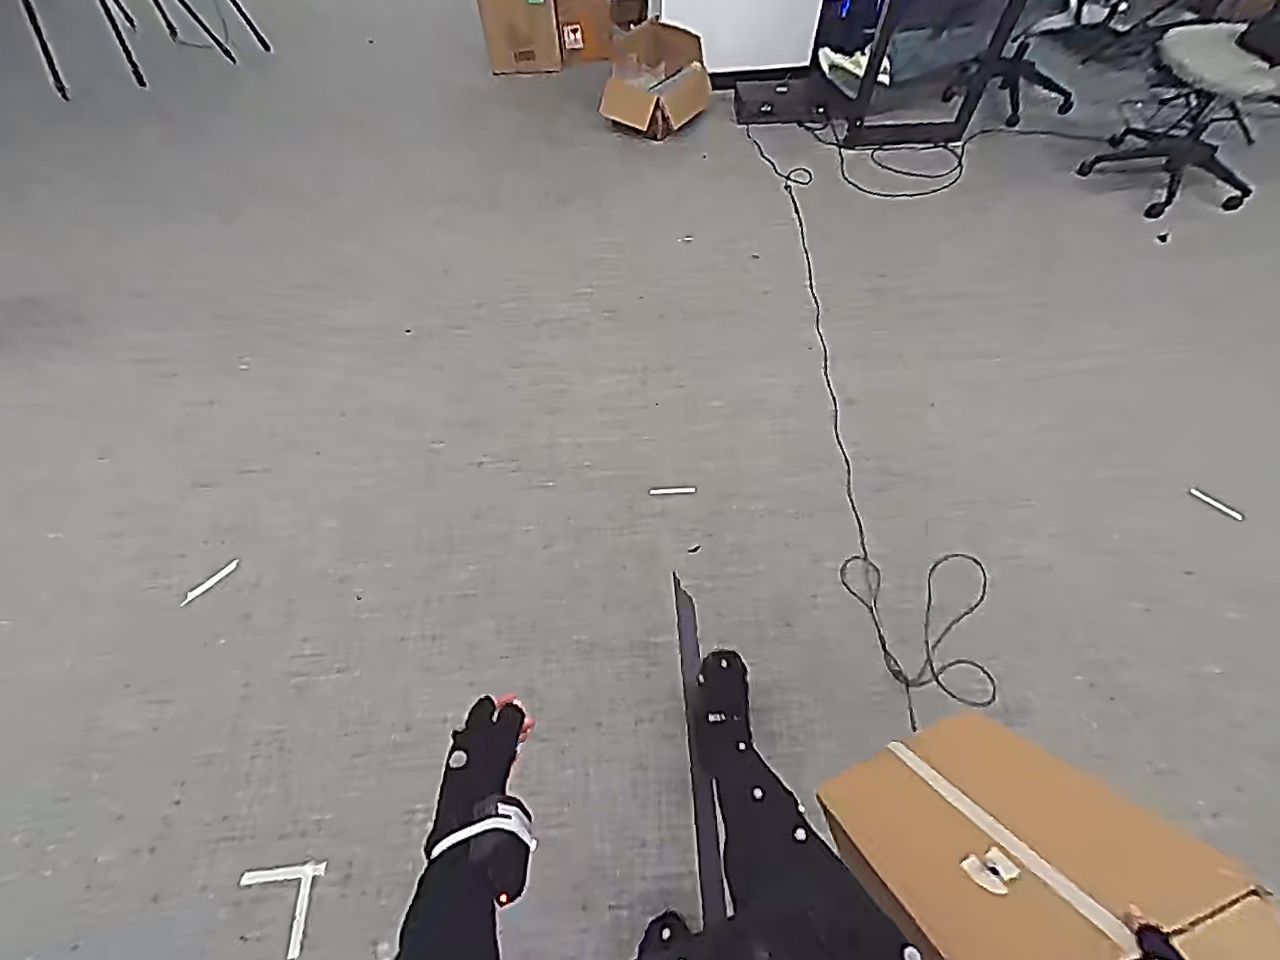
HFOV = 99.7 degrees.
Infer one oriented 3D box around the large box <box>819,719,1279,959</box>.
[{"bbox_3d":[0.514,0.606,0.728,0.320,0.408,0.320,-22,94,-7],"label":"large box"}]
